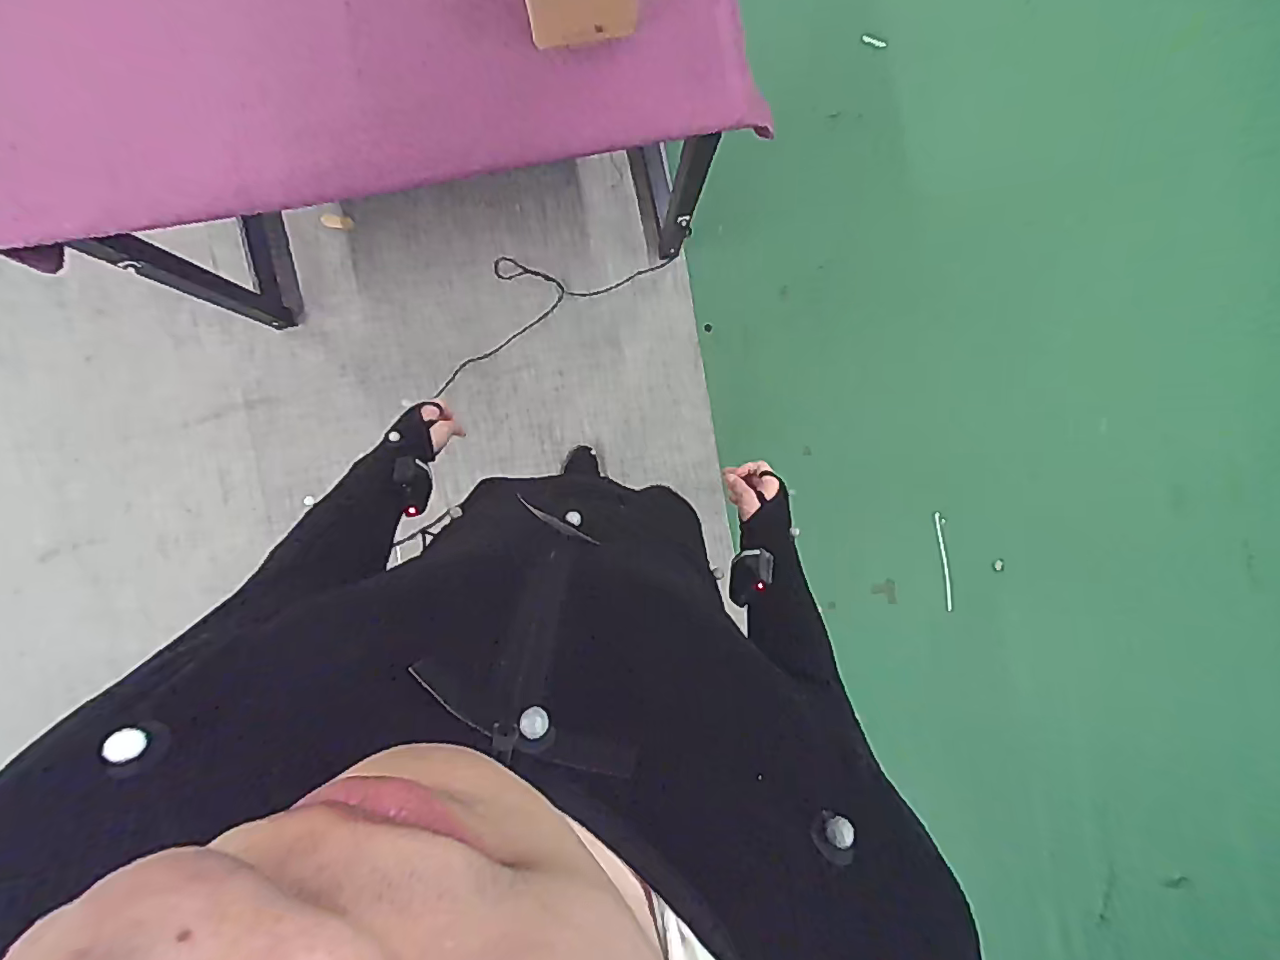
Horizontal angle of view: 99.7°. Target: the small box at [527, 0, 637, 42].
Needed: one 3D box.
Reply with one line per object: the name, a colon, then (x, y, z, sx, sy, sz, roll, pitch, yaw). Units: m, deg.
small box: (-0.099, -0.792, 0.779, 0.168, 0.176, 0.179, -12, 92, -2)
